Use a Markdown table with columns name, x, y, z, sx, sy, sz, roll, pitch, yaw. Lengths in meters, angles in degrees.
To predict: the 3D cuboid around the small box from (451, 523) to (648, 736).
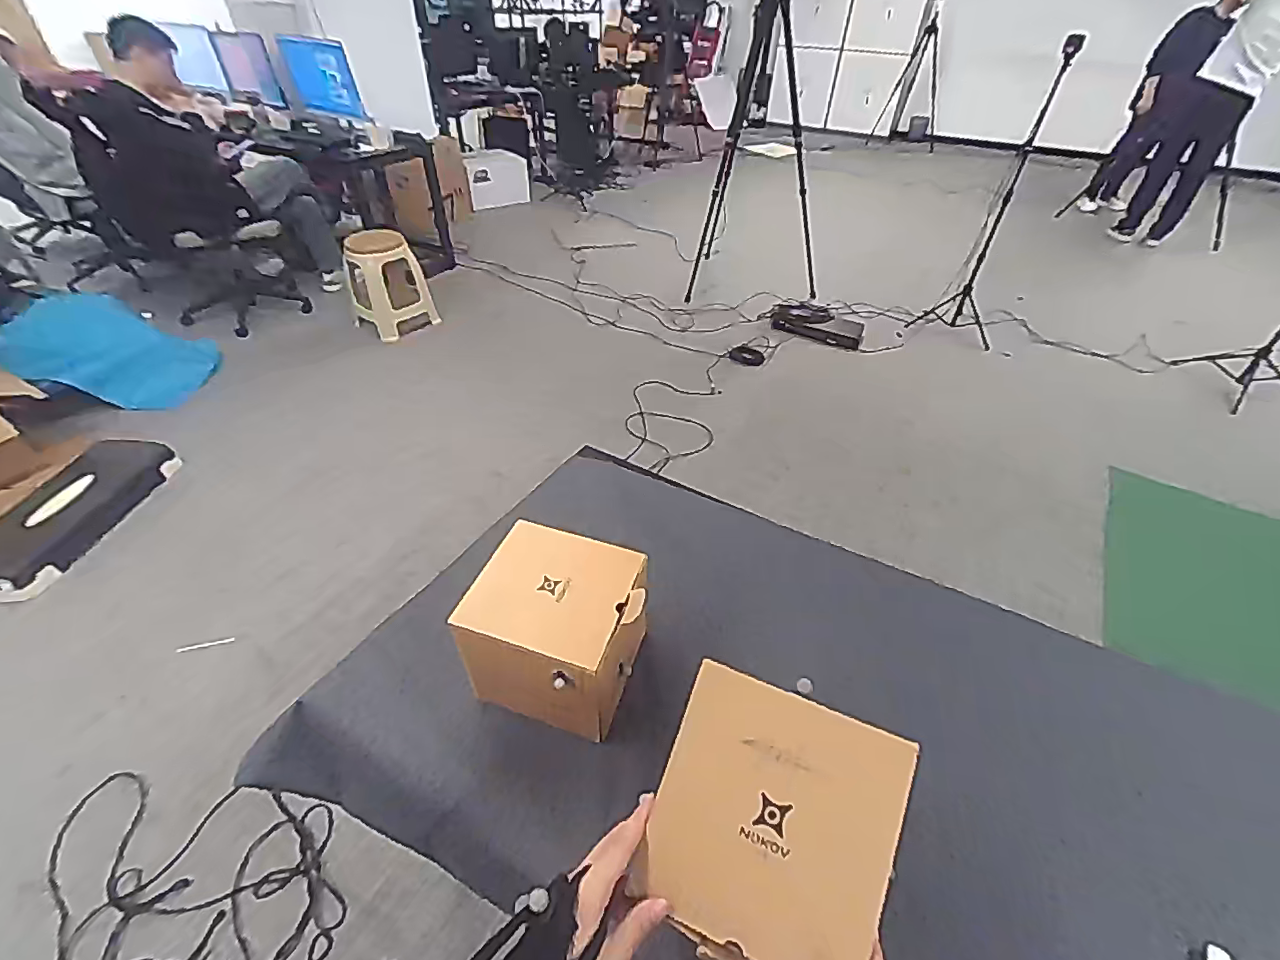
| name | x | y | z | sx | sy | sz | roll | pitch | yaw |
| --- | --- | --- | --- | --- | --- | --- | --- | --- | --- |
| small box | -0.098 | 0.183 | 0.664 | 0.179 | 0.176 | 0.168 | 13 | 42 | 12 |

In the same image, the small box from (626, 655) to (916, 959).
| name | x | y | z | sx | sy | sz | roll | pitch | yaw |
| --- | --- | --- | --- | --- | --- | --- | --- | --- | --- |
| small box | 0.107 | 0.267 | 0.462 | 0.168 | 0.176 | 0.179 | 18 | 74 | 14 |
